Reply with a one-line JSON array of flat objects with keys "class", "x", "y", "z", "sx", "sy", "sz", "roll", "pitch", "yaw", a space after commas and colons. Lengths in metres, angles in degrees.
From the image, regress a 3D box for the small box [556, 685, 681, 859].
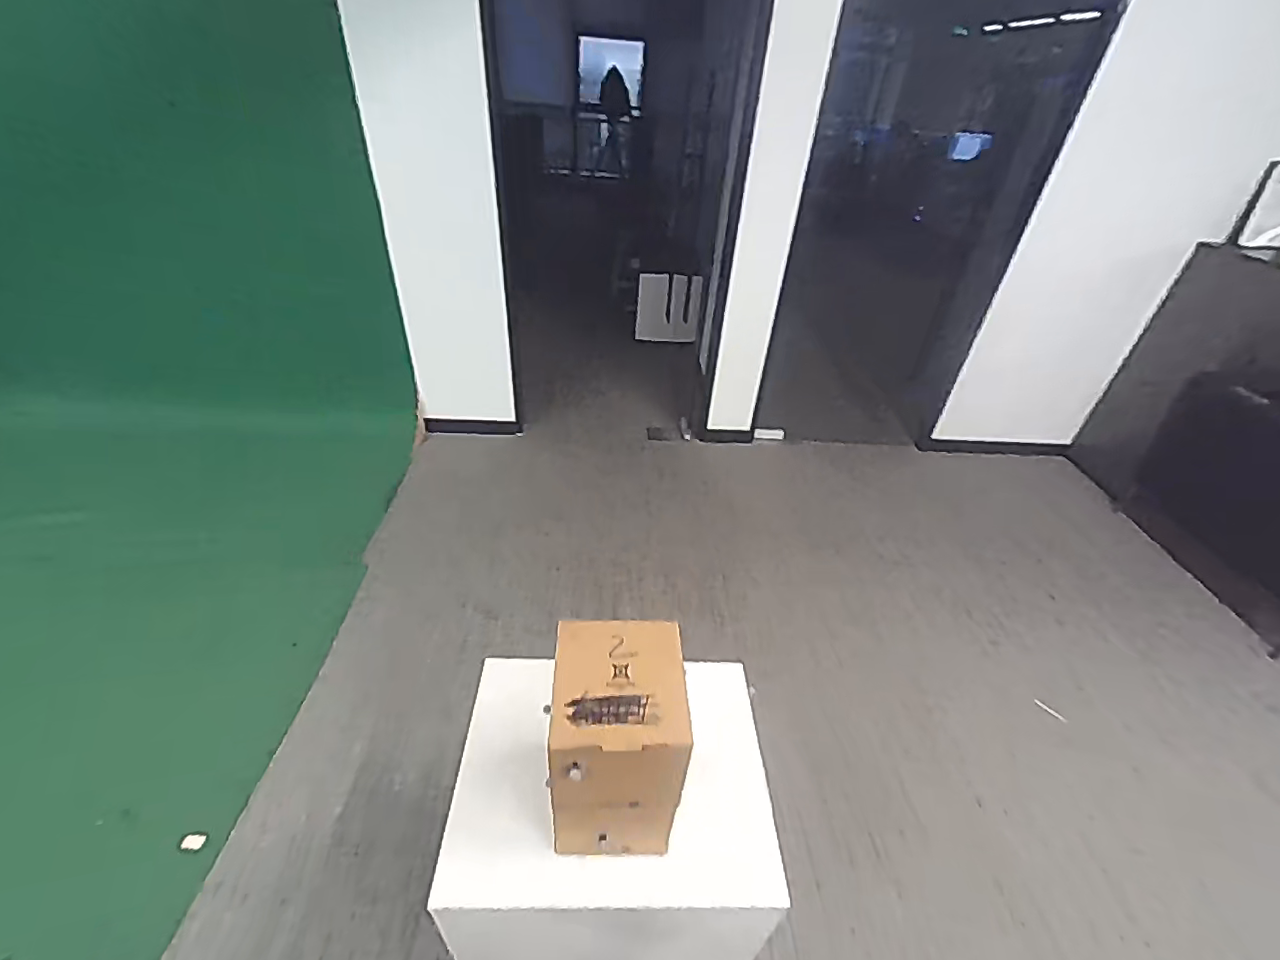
[{"class": "small box", "x": -0.034, "y": 0.432, "z": 0.808, "sx": 0.168, "sy": 0.176, "sz": 0.179, "roll": 2, "pitch": 35, "yaw": -3}]
